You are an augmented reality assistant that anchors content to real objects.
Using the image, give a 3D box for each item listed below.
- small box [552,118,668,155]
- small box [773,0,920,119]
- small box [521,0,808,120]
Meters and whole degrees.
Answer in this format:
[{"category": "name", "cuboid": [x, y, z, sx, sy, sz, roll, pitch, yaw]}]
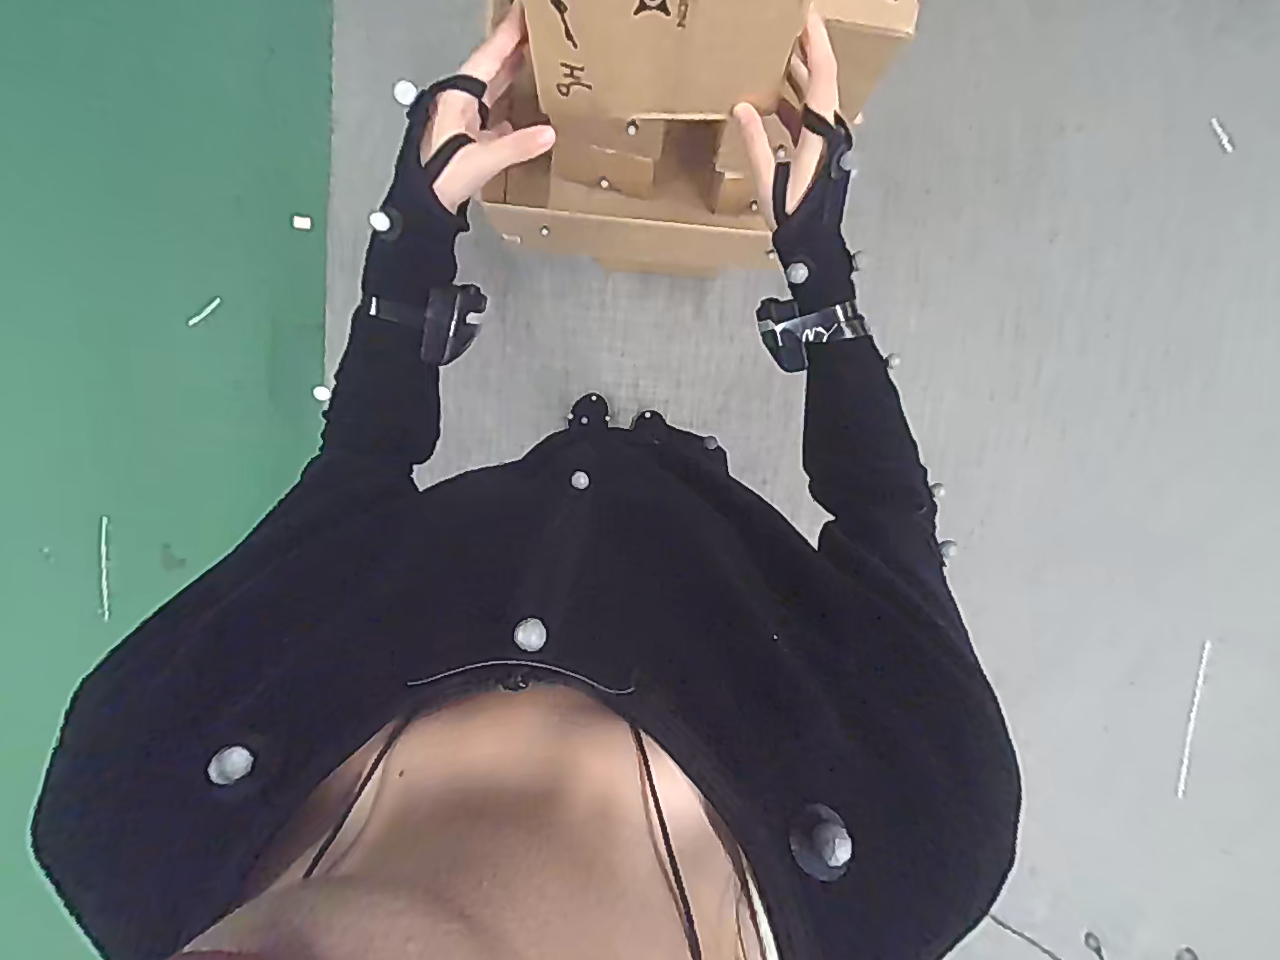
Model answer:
[{"category": "small box", "cuboid": [-0.032, -0.601, 0.776, 0.179, 0.176, 0.168, 13, 95, -2]}, {"category": "small box", "cuboid": [0.204, -0.543, 0.609, 0.179, 0.176, 0.168, 10, 97, 2]}, {"category": "small box", "cuboid": [0.012, -0.365, 0.338, 0.179, 0.168, 0.176, -2, 76, -3]}]
